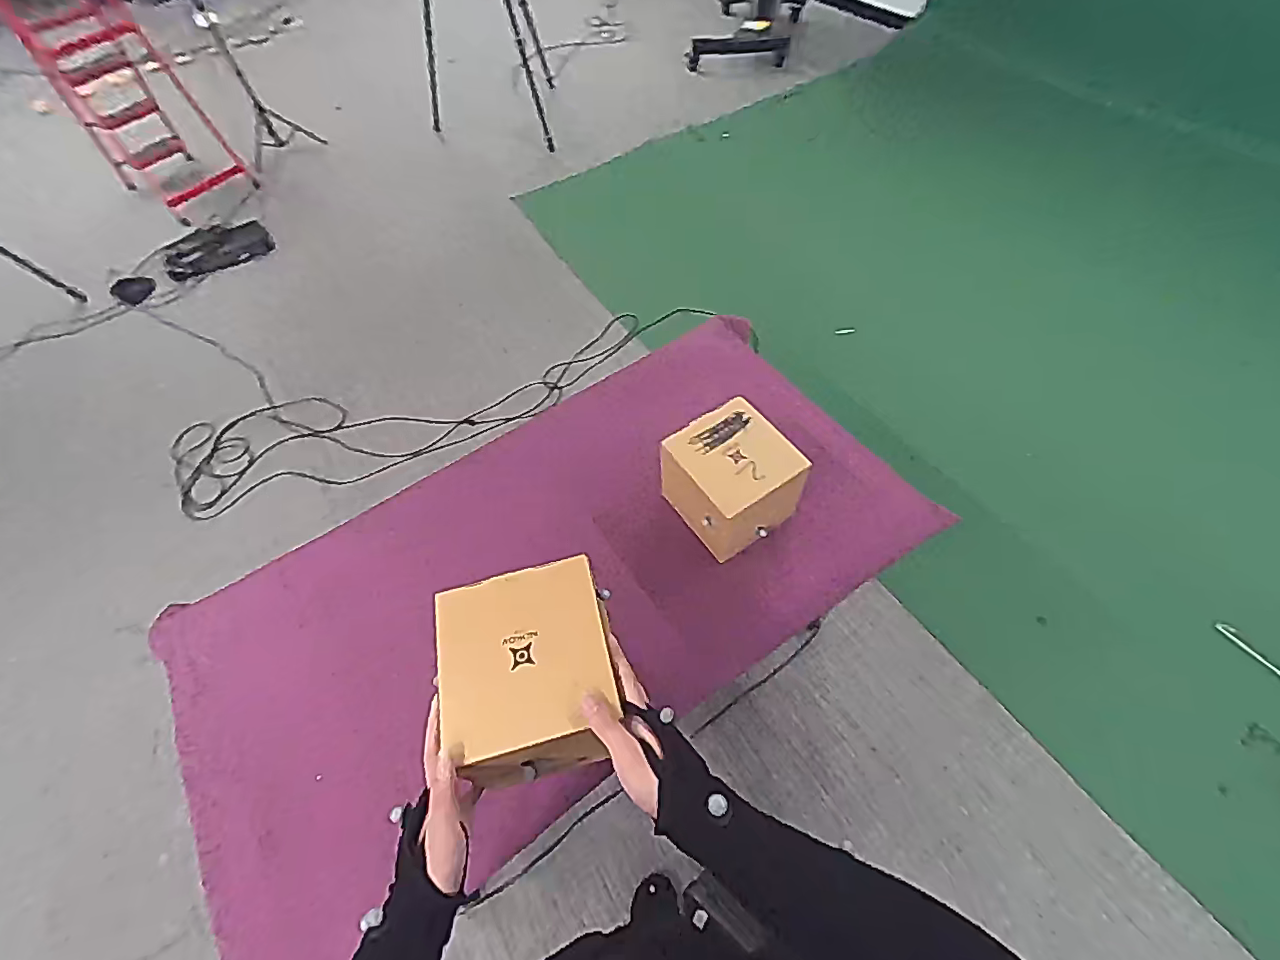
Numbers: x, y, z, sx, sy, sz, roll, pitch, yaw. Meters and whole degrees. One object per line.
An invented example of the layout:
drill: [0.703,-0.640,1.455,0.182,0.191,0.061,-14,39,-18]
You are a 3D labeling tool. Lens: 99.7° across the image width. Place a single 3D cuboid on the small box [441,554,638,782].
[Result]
small box: [-0.103,0.211,0.587,0.168,0.176,0.179,-14,54,-6]
